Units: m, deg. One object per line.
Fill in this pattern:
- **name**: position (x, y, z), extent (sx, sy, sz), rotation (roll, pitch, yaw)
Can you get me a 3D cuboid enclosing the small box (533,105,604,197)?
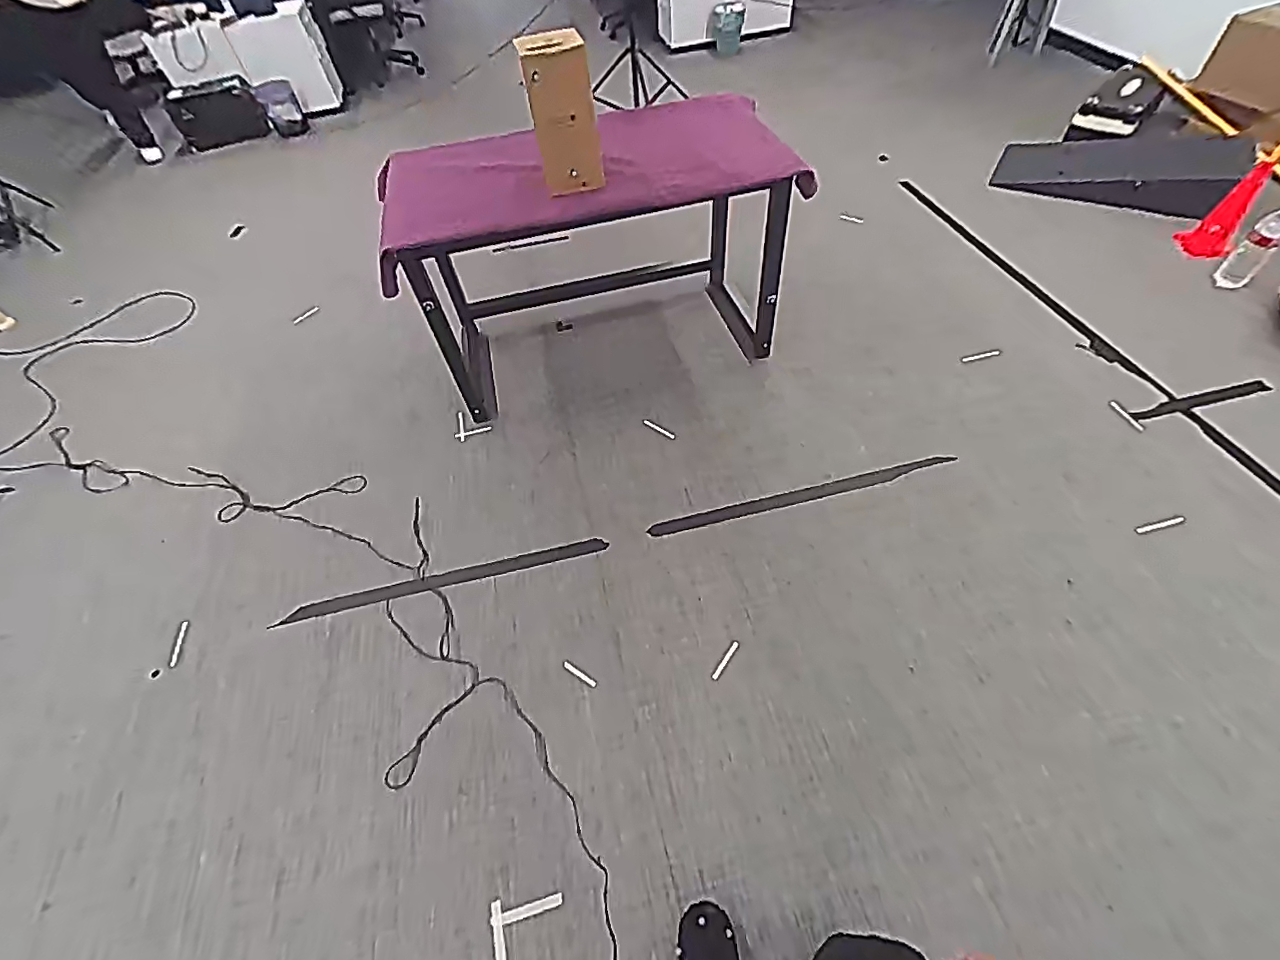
- **small box**: position (-0.204, -0.942, 1.551), extent (0.168, 0.176, 0.179), rotation (-12, 52, -3)
